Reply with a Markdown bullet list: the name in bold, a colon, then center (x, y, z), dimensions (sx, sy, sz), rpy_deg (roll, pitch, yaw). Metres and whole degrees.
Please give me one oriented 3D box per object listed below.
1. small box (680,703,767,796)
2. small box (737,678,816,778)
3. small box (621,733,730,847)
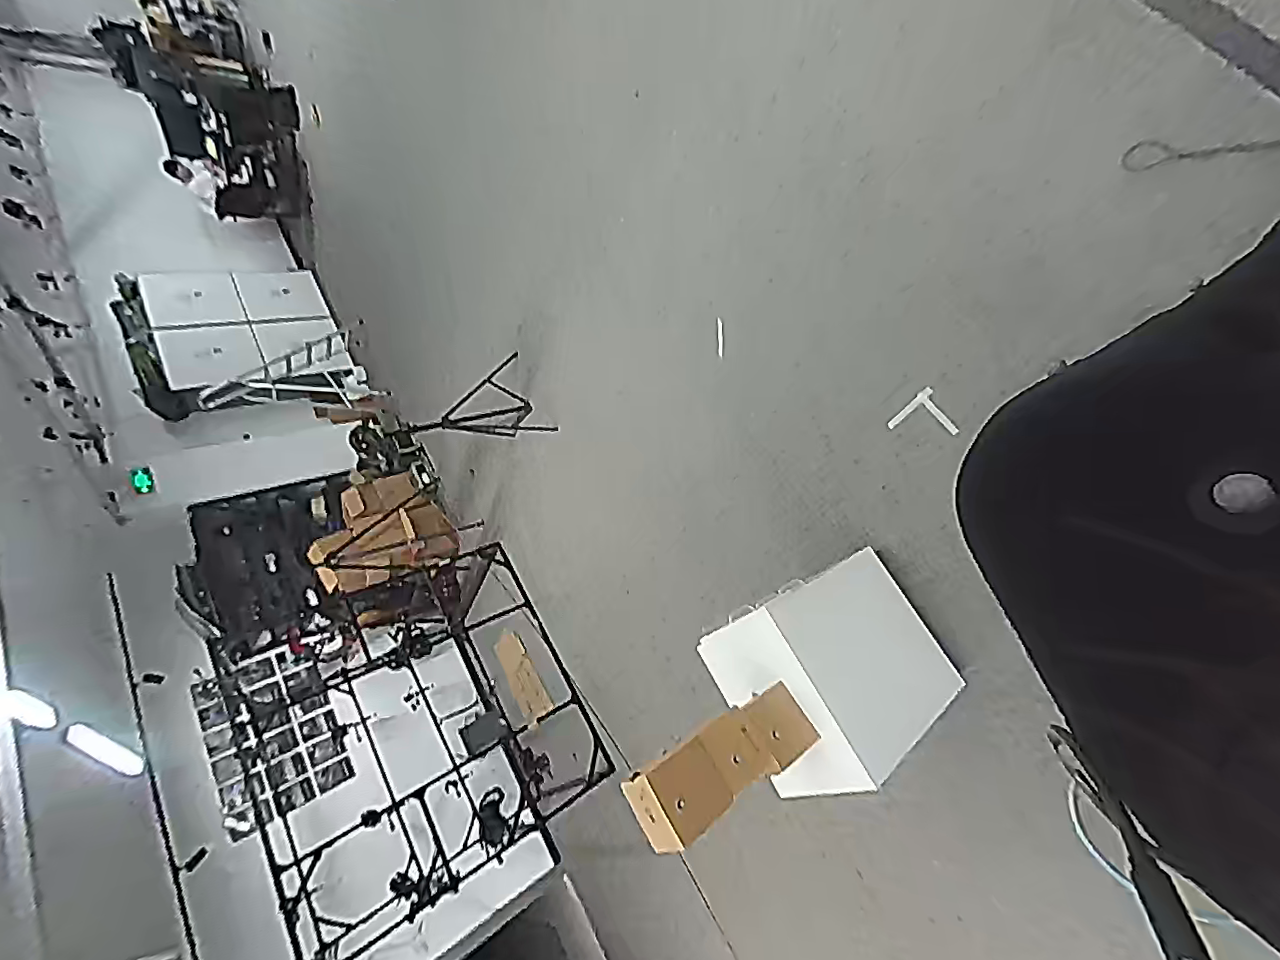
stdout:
- **small box**: center (0.209, 0.719, 1.430), dimensions (0.168, 0.176, 0.179), rpy_deg (56, 142, 21)
- **small box**: center (0.353, 0.688, 1.504), dimensions (0.179, 0.176, 0.168), rpy_deg (56, 141, 22)
- **small box**: center (0.088, 0.757, 1.322), dimensions (0.179, 0.176, 0.168), rpy_deg (57, 142, 19)
